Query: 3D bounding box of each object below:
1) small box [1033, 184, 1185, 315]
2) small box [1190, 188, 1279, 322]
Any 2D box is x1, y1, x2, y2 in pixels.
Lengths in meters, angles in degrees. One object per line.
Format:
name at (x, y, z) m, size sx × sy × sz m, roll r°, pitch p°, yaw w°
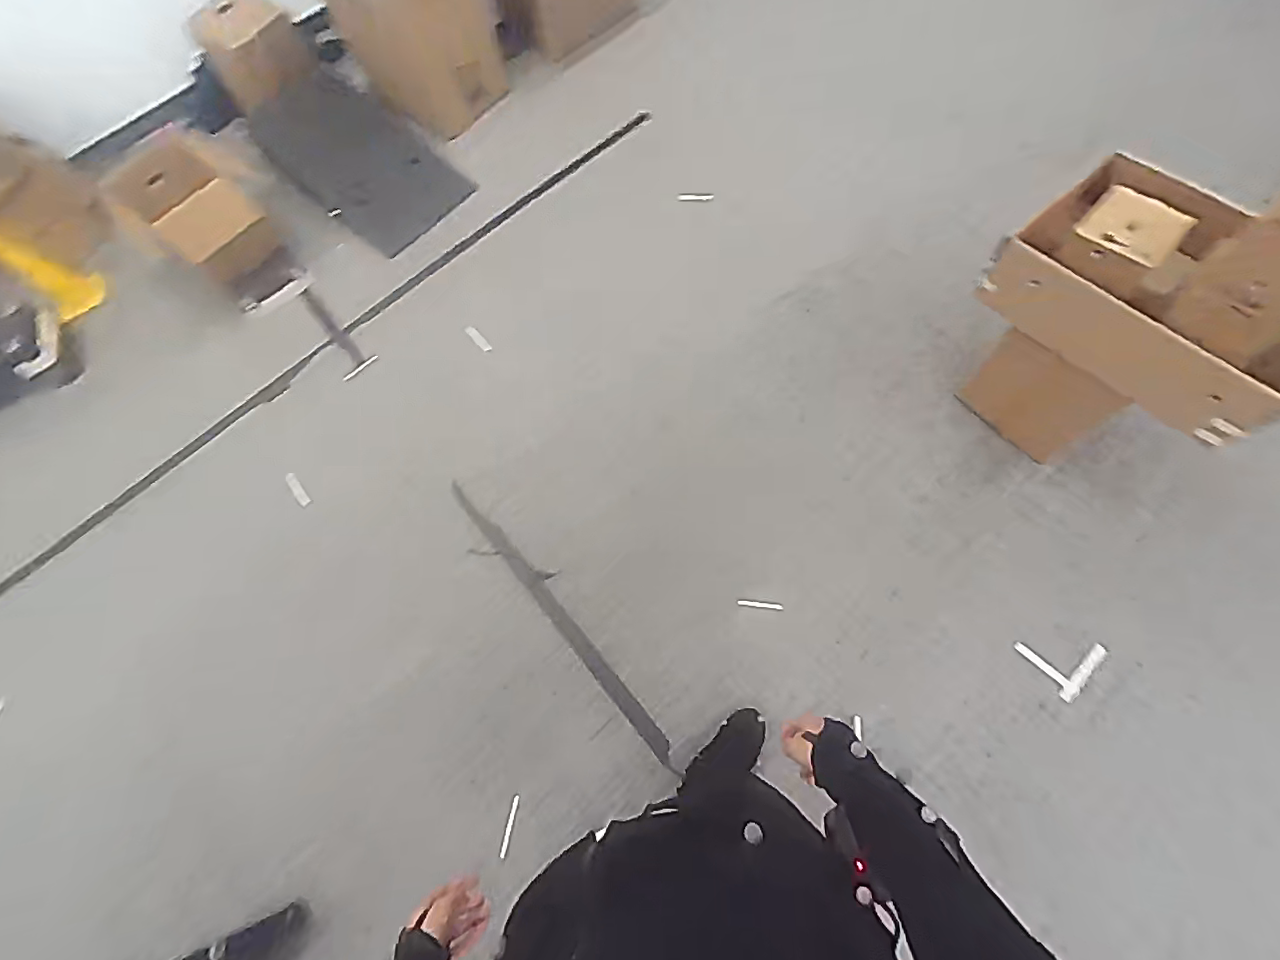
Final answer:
small box at (1.042, -0.514, 1.220) m, size 0.168 × 0.176 × 0.179 m, roll 41°, pitch 77°, yaw 21°
small box at (1.189, -0.431, 0.990) m, size 0.179 × 0.176 × 0.168 m, roll -41°, pitch 67°, yaw -9°
